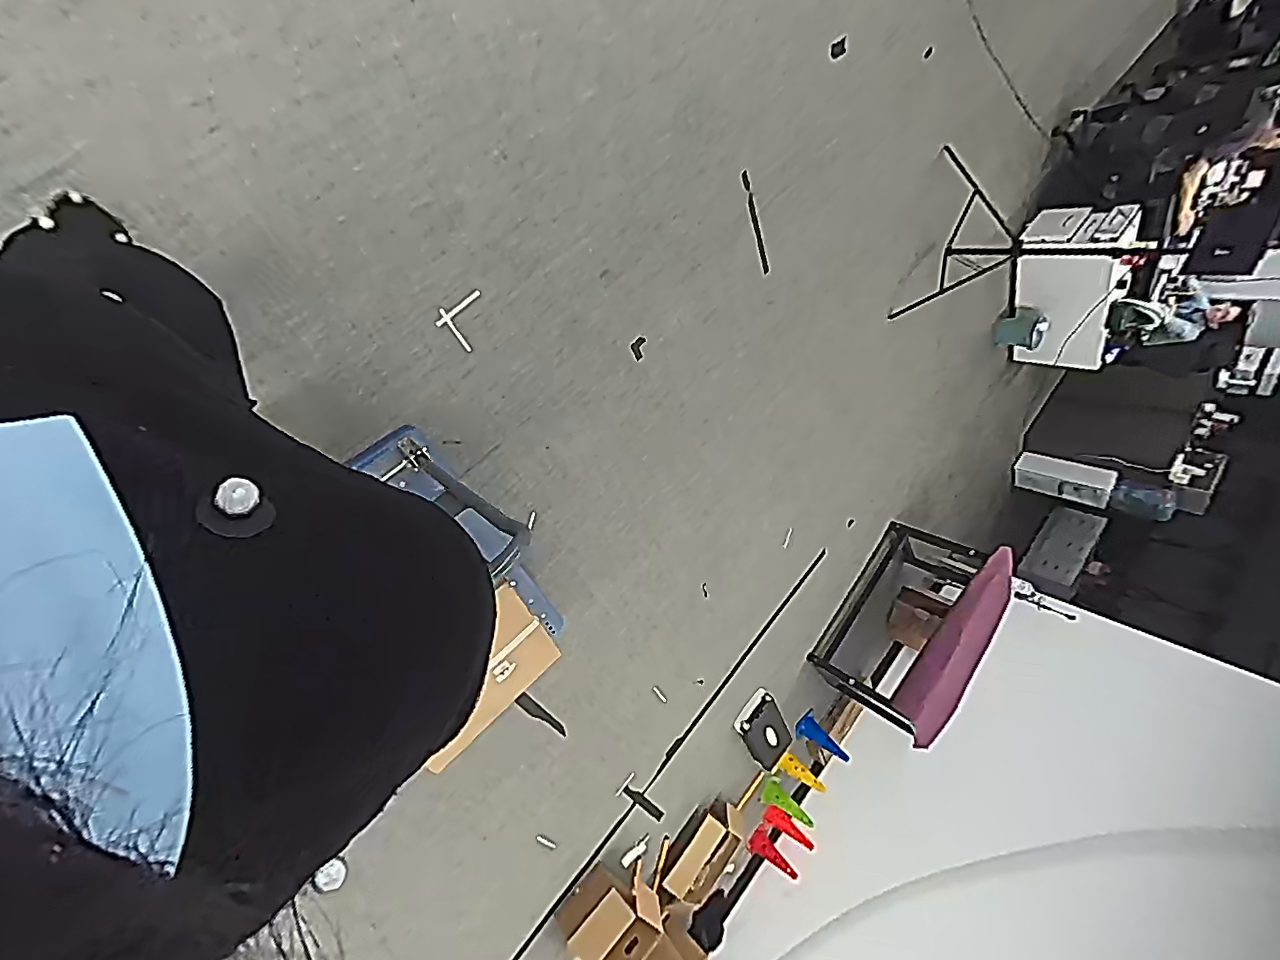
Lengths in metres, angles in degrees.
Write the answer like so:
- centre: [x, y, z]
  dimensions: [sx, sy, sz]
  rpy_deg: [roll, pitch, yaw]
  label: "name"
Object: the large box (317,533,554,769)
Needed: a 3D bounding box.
- centre: [-0.505, 0.409, 1.362]
  dimensions: [0.408, 0.320, 0.320]
  rpy_deg: [-42, 130, -23]
  label: "large box"
